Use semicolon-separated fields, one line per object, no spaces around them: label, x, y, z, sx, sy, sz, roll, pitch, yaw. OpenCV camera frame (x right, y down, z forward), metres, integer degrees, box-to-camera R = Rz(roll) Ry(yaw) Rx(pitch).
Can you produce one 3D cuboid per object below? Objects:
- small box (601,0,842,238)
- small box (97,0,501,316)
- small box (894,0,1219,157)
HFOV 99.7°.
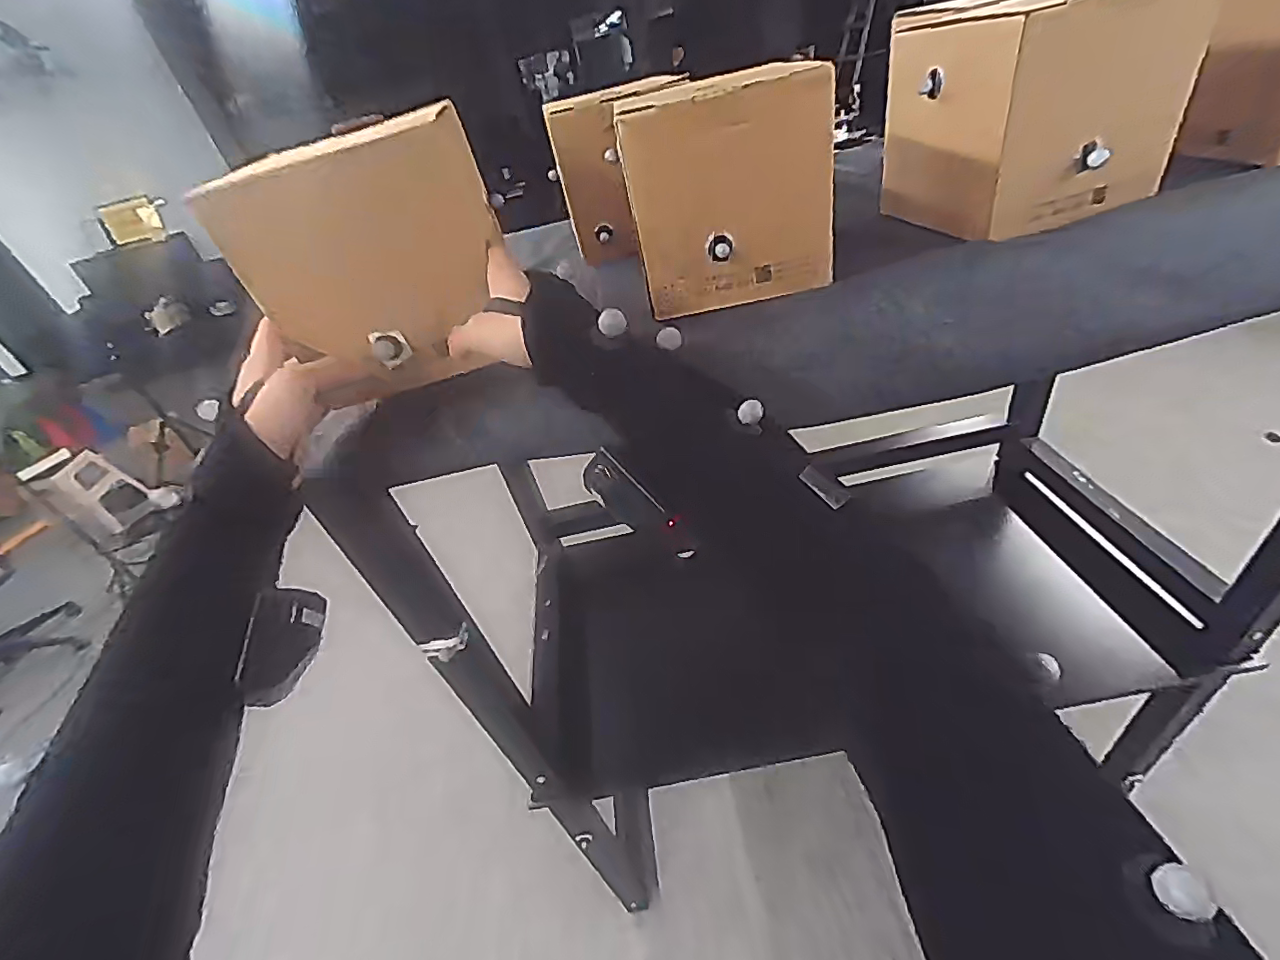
small box;0.064;-0.329;0.475;0.168;0.176;0.179;-11;38;5
small box;-0.213;-0.246;0.404;0.168;0.176;0.179;-18;40;-1
small box;0.344;-0.396;0.468;0.168;0.176;0.179;-16;38;-2
